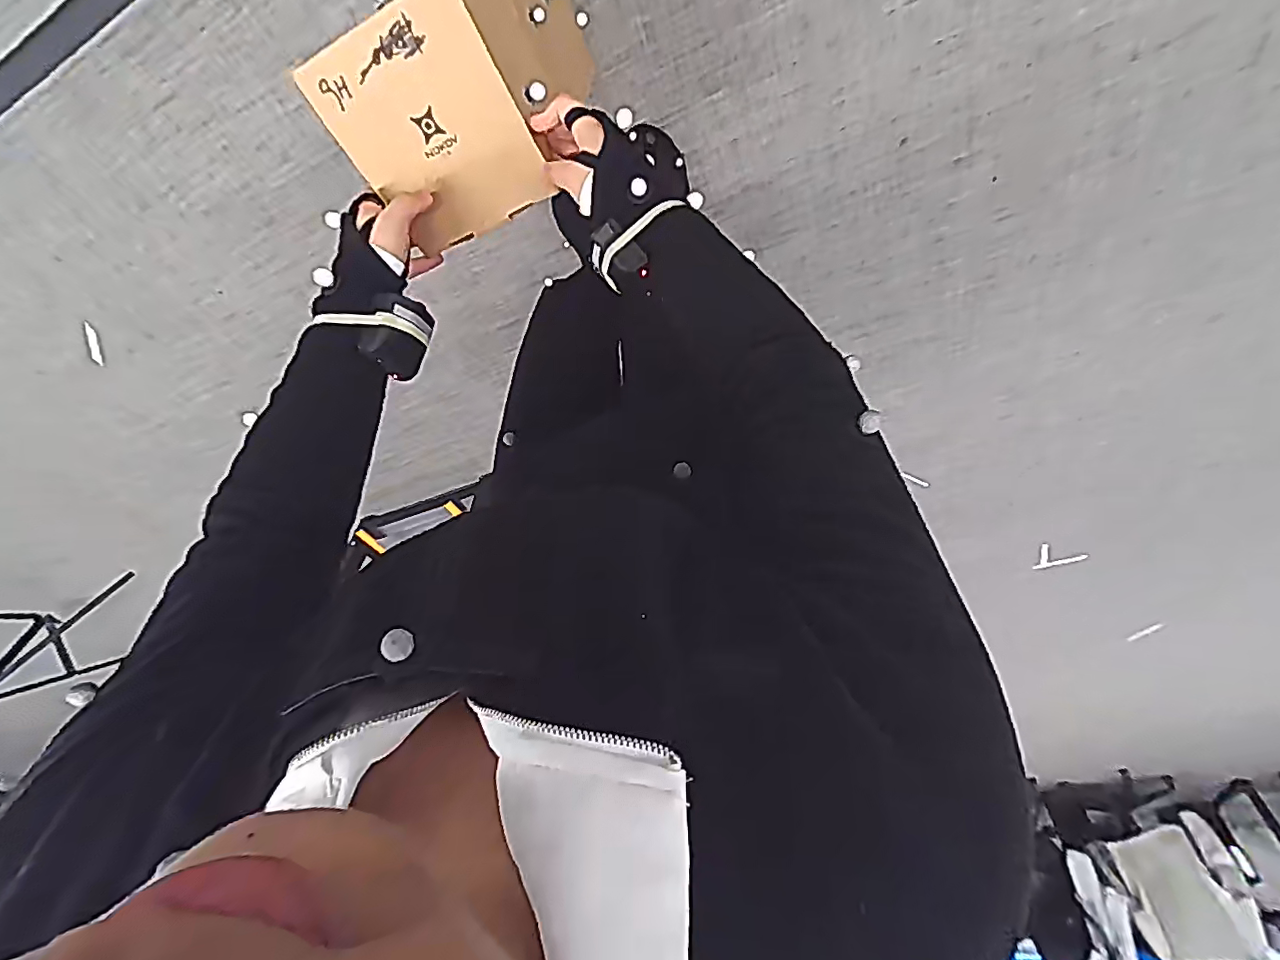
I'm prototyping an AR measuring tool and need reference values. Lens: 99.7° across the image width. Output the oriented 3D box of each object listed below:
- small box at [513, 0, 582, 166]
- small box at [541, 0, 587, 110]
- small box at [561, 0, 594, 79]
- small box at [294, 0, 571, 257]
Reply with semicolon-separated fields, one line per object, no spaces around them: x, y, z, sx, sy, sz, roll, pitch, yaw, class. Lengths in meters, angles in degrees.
-0.181;-0.477;0.660;0.168;0.176;0.179;-13;135;15;small box
-0.185;-0.603;0.764;0.168;0.176;0.179;-13;135;15;small box
-0.187;-0.716;0.884;0.179;0.176;0.168;-14;134;14;small box
-0.182;-0.366;0.539;0.168;0.176;0.179;-16;134;18;small box
